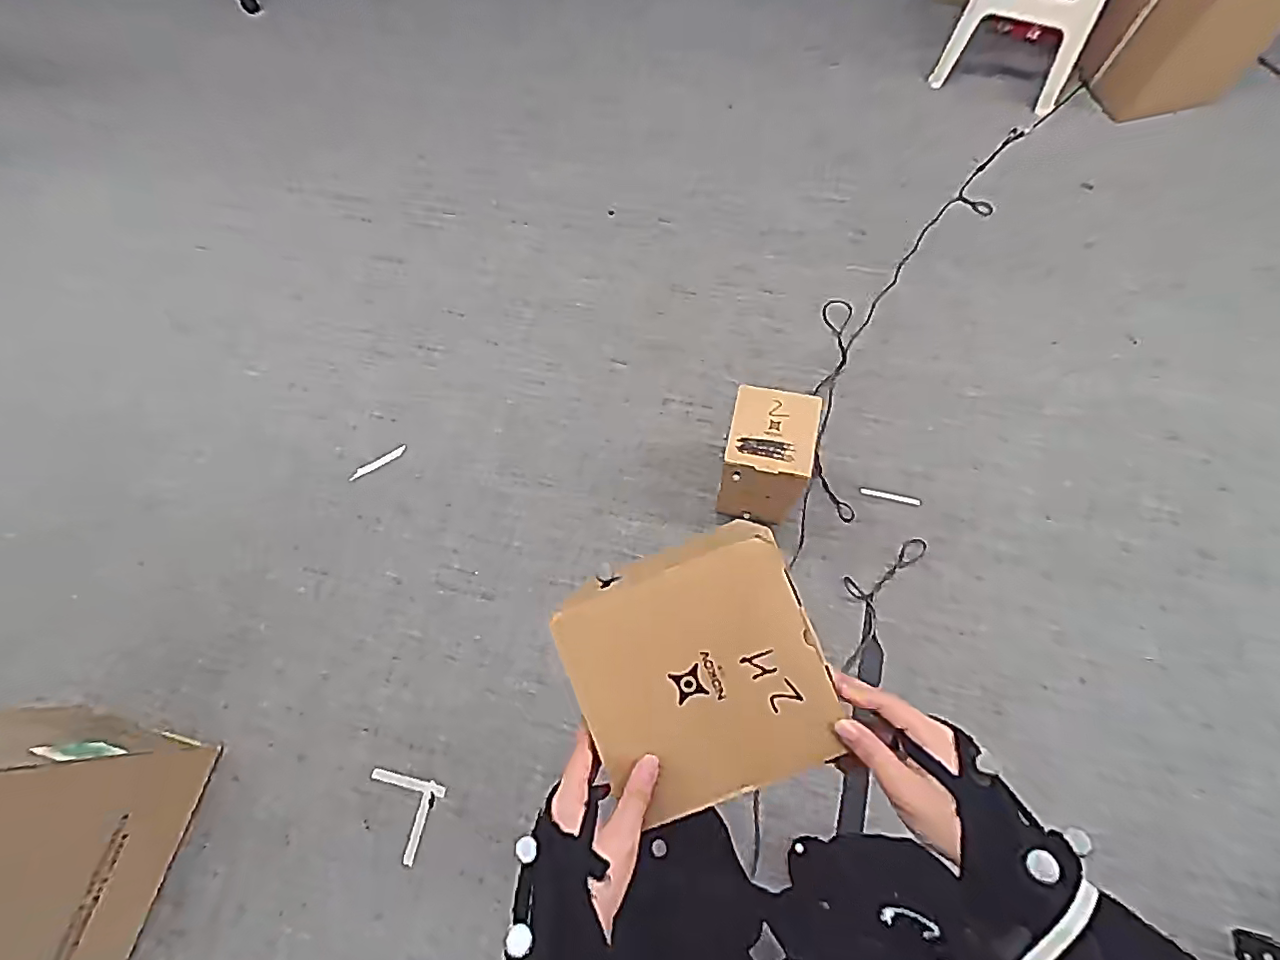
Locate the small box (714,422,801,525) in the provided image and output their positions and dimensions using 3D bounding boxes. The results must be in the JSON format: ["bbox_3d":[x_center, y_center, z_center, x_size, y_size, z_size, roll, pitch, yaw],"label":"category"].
[{"bbox_3d":[0.270,-0.011,1.274,0.168,0.176,0.179,11,72,9],"label":"small box"}]
